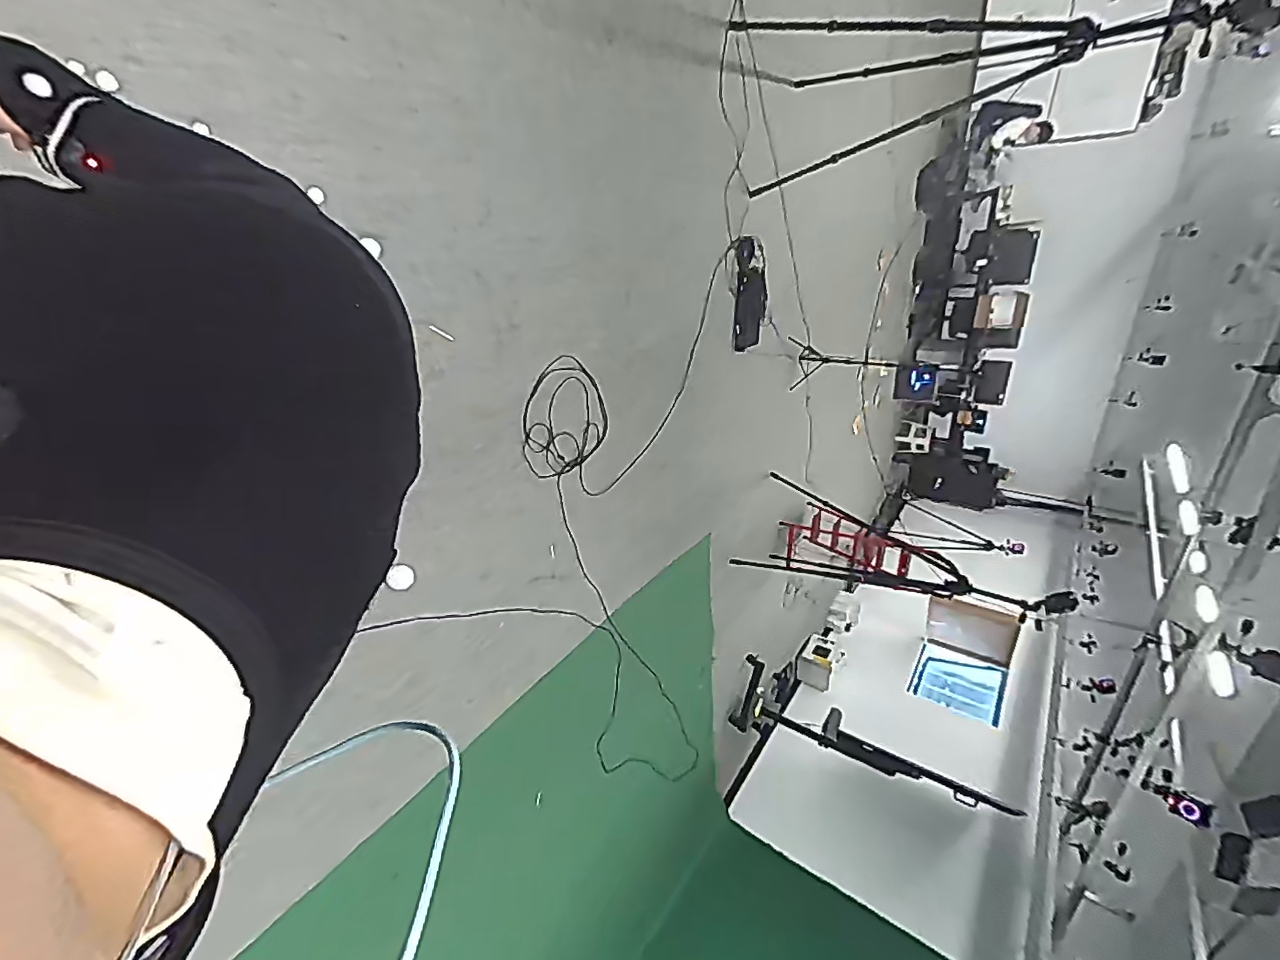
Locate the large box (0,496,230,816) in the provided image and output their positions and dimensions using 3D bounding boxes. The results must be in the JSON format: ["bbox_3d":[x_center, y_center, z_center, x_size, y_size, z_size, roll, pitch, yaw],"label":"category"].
[{"bbox_3d":[-1.066,0.296,0.953,0.320,0.320,0.408,-48,138,-33],"label":"large box"}]
